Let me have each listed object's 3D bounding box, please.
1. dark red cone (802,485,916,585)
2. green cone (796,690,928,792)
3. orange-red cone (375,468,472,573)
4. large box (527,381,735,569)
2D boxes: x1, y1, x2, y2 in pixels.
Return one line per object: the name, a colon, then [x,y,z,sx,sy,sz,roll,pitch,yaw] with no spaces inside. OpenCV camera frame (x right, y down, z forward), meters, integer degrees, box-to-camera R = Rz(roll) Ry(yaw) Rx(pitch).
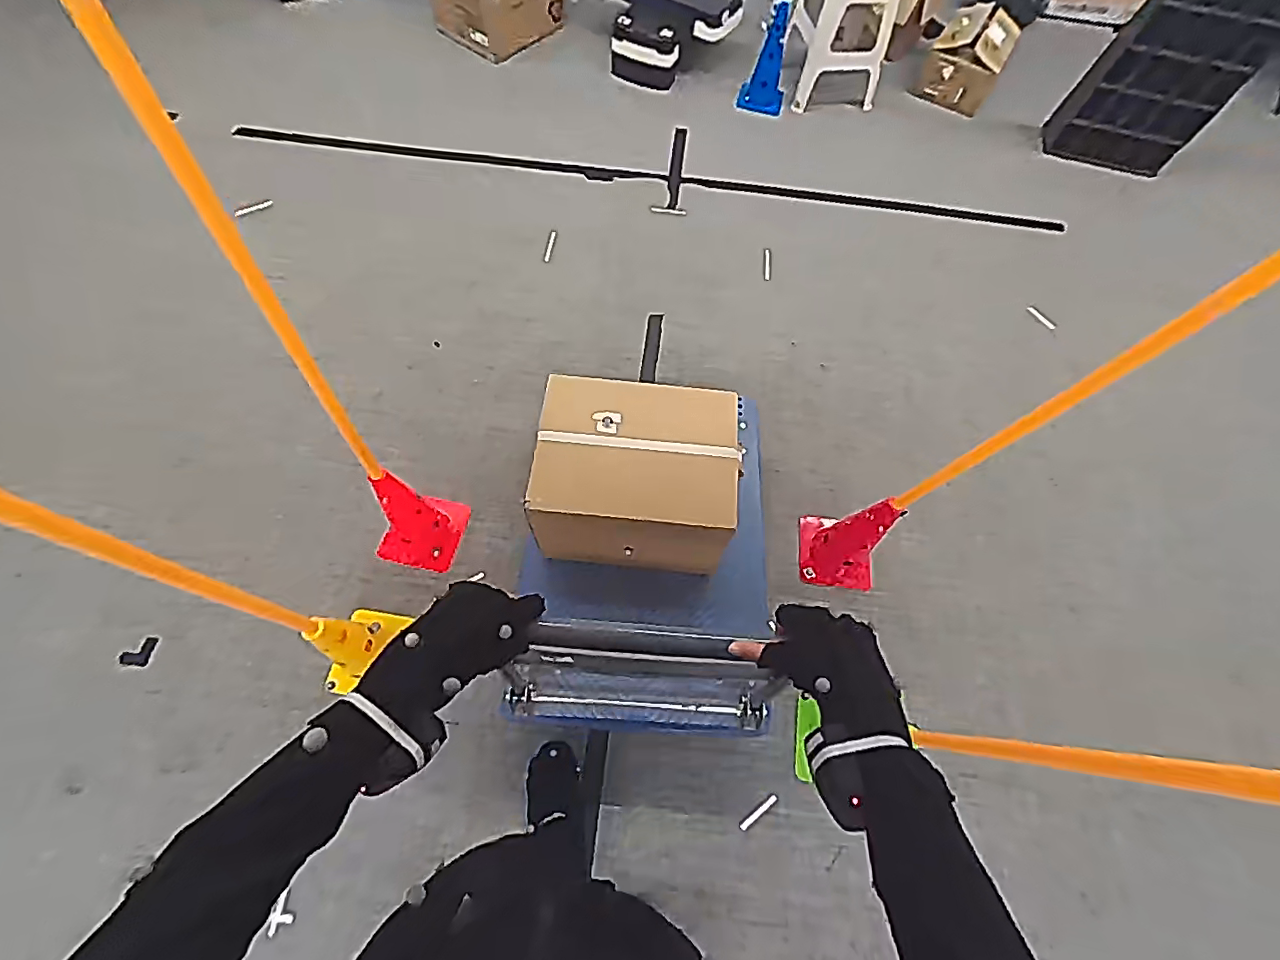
dark red cone: [0.564,0.115,1.350,0.201,0.394,0.202,8,64,-2]
green cone: [0.491,0.552,1.152,0.202,0.368,0.200,11,64,0]
orange-red cone: [-0.569,0.066,1.325,0.198,0.360,0.199,14,63,2]
large box: [-0.009,0.003,1.224,0.408,0.320,0.320,5,64,1]
